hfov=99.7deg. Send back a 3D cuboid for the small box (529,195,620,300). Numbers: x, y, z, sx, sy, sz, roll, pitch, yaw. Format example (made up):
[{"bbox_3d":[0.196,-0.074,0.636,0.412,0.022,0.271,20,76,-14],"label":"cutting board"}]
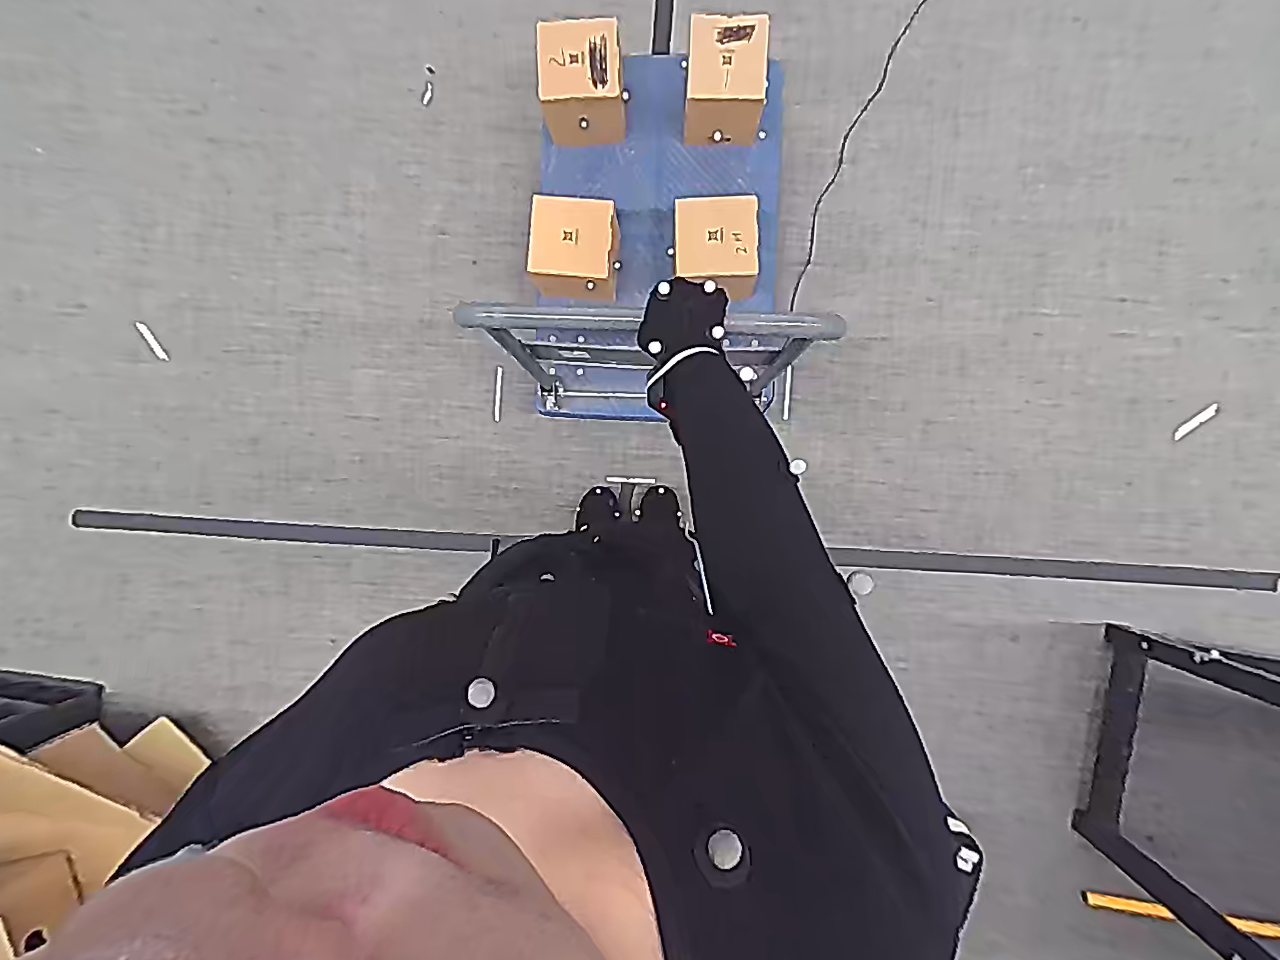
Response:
[{"bbox_3d":[-0.143,-0.520,1.229,0.179,0.176,0.168,4,91,1],"label":"small box"}]

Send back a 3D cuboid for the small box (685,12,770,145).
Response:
[{"bbox_3d":[0.188,-0.889,1.208,0.168,0.176,0.179,2,92,2],"label":"small box"}]

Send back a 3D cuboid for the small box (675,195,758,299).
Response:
[{"bbox_3d":[0.166,-0.515,1.216,0.179,0.176,0.168,-1,91,3],"label":"small box"}]
